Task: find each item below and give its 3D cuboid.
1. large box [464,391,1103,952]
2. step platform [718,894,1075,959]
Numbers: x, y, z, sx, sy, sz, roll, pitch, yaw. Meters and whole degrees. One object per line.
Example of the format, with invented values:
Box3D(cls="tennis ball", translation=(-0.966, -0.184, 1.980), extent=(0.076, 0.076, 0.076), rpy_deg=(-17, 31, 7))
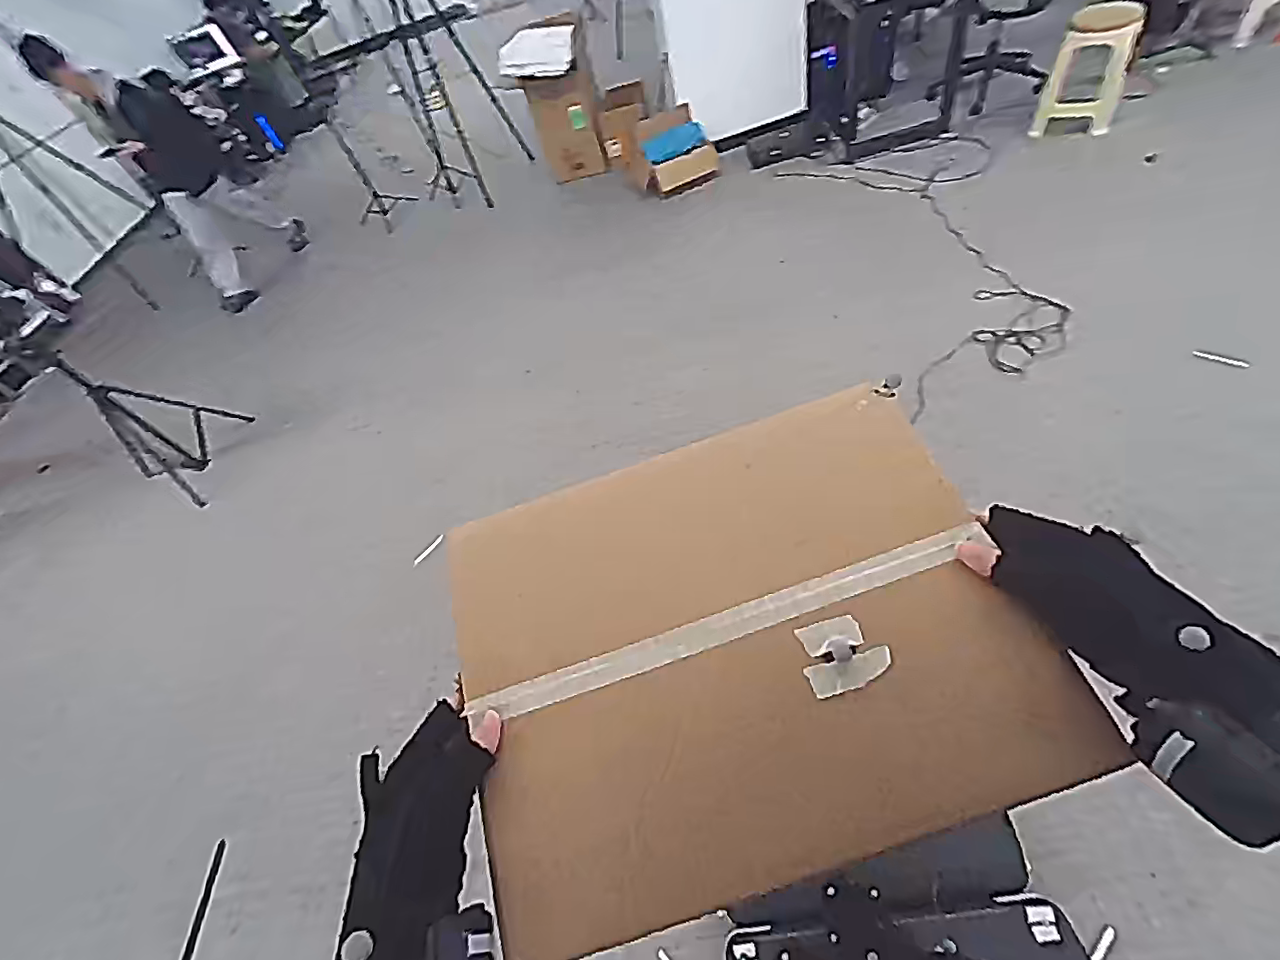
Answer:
Box3D(cls="large box", translation=(0.092, 0.178, 0.546), extent=(0.408, 0.320, 0.320), rpy_deg=(-19, 62, 1))
Box3D(cls="step platform", translation=(0.499, 1.029, 1.056), extent=(0.684, 0.204, 0.286), rpy_deg=(-15, 50, 9))
